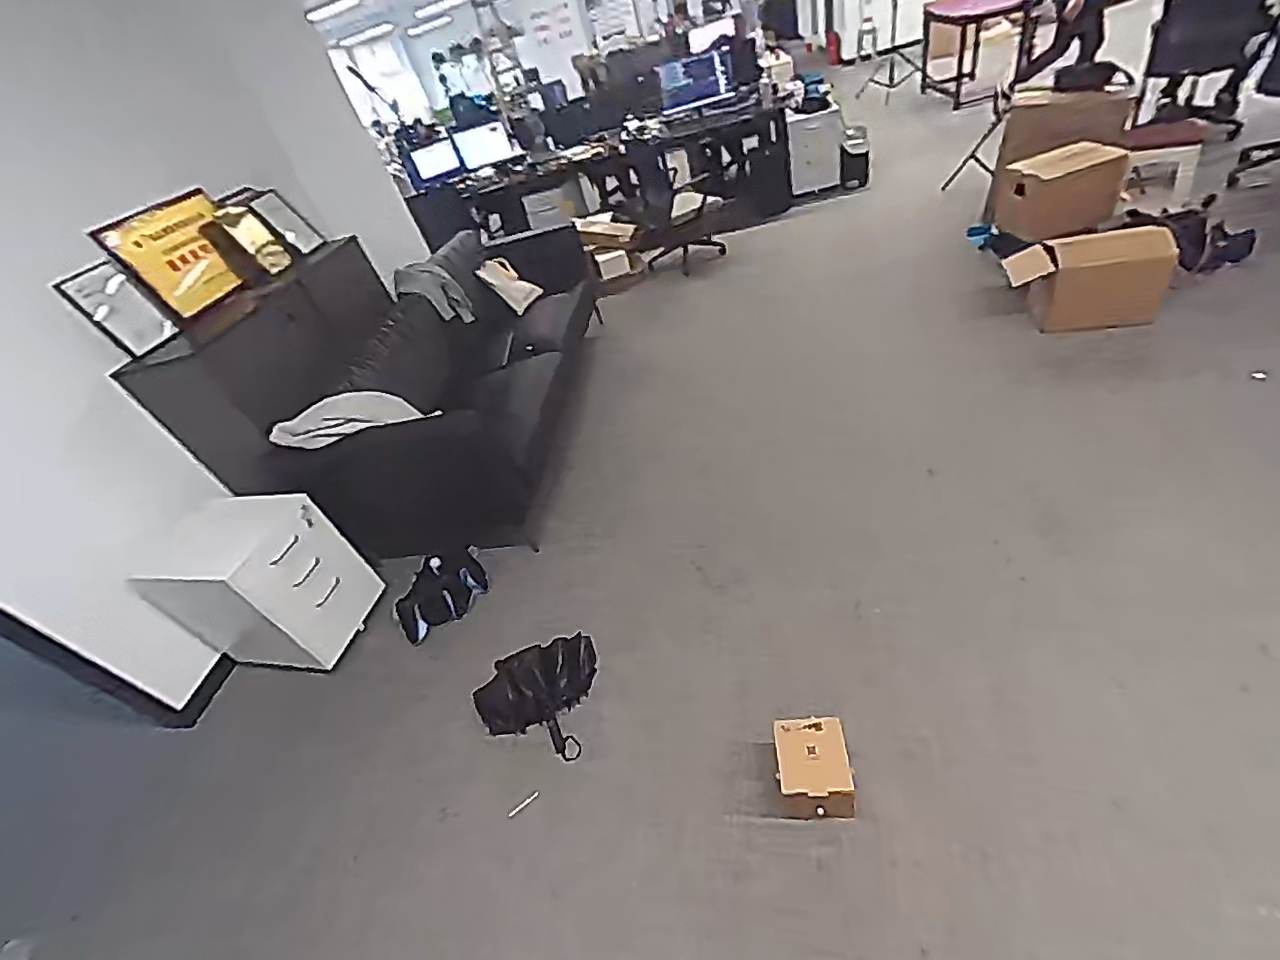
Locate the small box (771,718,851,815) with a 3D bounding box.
[{"bbox_3d":[0.425,0.715,1.345,0.168,0.176,0.179,-8,41,12],"label":"small box"}]
